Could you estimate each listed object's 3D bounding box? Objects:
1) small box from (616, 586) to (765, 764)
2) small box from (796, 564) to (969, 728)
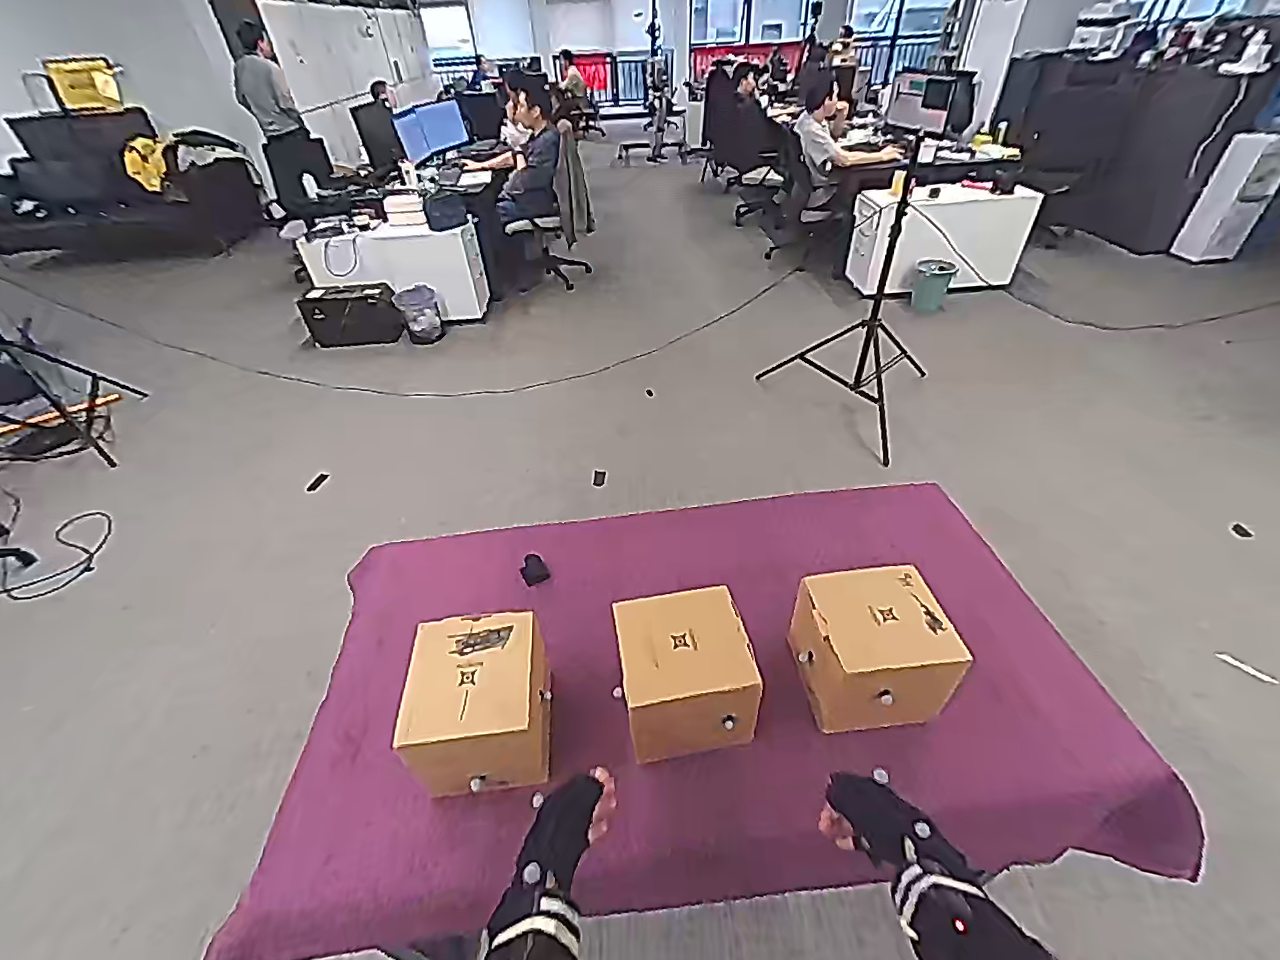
[{"bbox_3d":[0.066,0.284,0.792,0.179,0.176,0.168,-10,38,-6],"label":"small box"},{"bbox_3d":[0.342,0.251,0.810,0.179,0.176,0.168,-6,40,-2],"label":"small box"}]
